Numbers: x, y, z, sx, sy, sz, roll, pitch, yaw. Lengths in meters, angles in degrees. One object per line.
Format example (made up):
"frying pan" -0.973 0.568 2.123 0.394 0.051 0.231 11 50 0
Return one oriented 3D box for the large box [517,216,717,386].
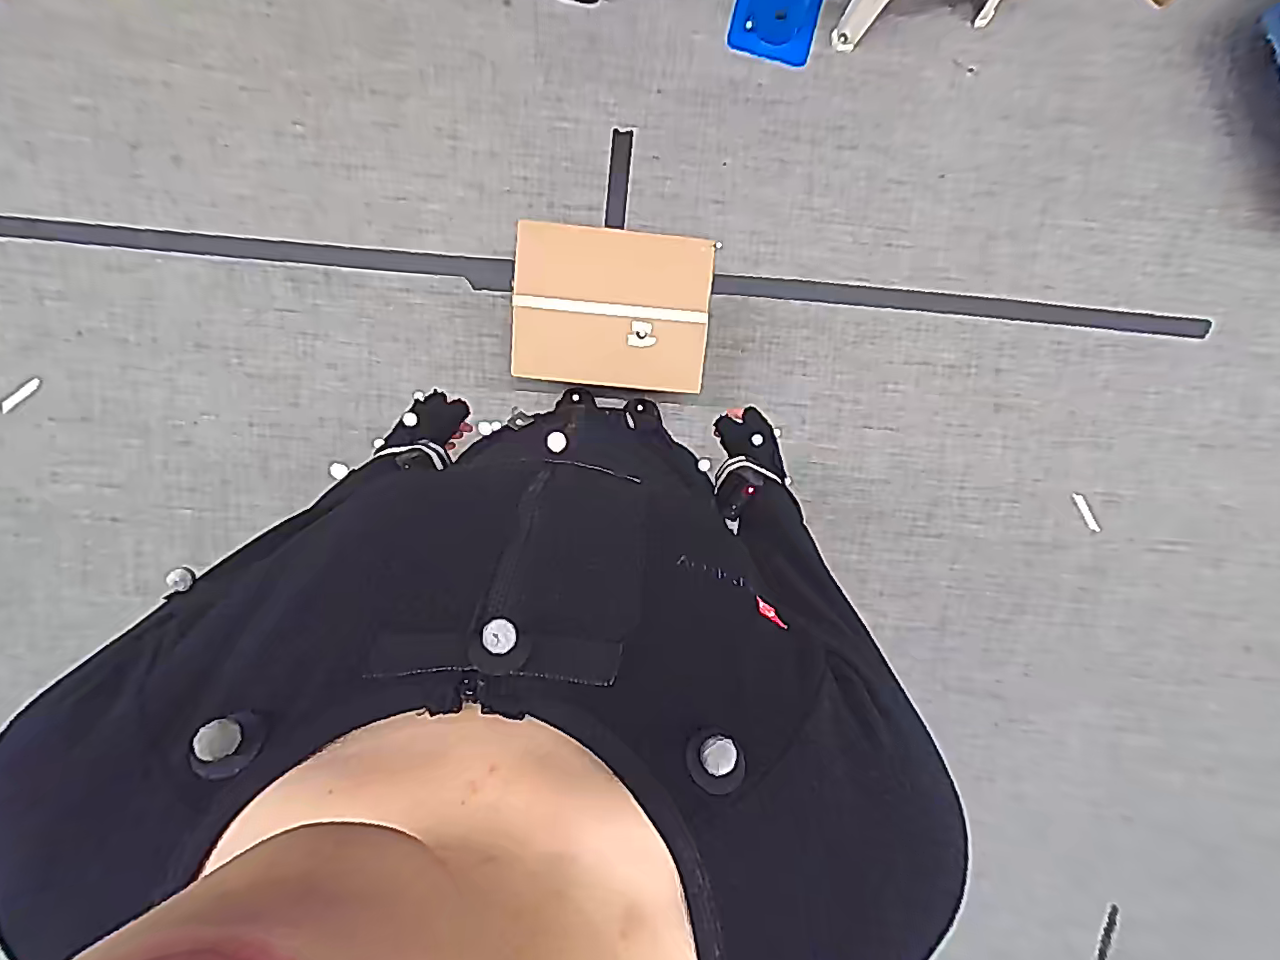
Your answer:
"large box" -0.058 -0.390 1.260 0.408 0.320 0.320 4 101 -3
